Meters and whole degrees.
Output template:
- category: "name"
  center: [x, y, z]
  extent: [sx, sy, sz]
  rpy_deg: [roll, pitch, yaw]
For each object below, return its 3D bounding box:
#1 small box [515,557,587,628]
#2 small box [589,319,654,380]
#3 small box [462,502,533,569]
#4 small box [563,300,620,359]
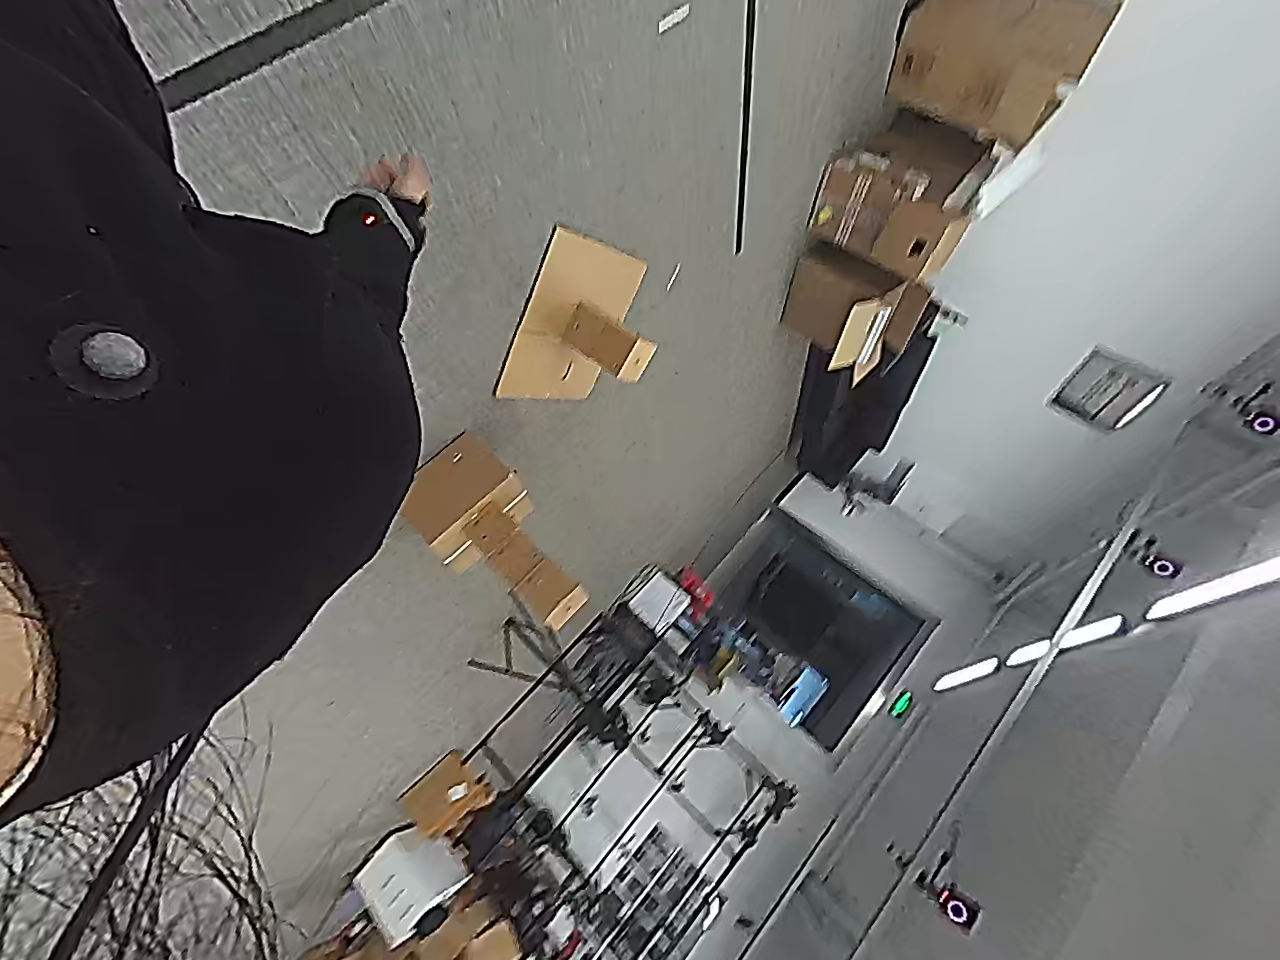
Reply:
- category: "small box"
  center: [-0.319, 0.405, 1.953]
  extent: [0.168, 0.176, 0.179]
  rpy_deg: [-46, 156, -15]
- category: "small box"
  center: [-0.081, -0.535, 2.220]
  extent: [0.179, 0.176, 0.168]
  rpy_deg: [-58, 157, 19]
- category: "small box"
  center: [-0.550, 0.209, 2.083]
  extent: [0.168, 0.176, 0.179]
  rpy_deg: [-46, 157, -12]
- category: "small box"
  center: [-0.200, -0.627, 2.283]
  extent: [0.168, 0.176, 0.179]
  rpy_deg: [-8, 134, -59]
